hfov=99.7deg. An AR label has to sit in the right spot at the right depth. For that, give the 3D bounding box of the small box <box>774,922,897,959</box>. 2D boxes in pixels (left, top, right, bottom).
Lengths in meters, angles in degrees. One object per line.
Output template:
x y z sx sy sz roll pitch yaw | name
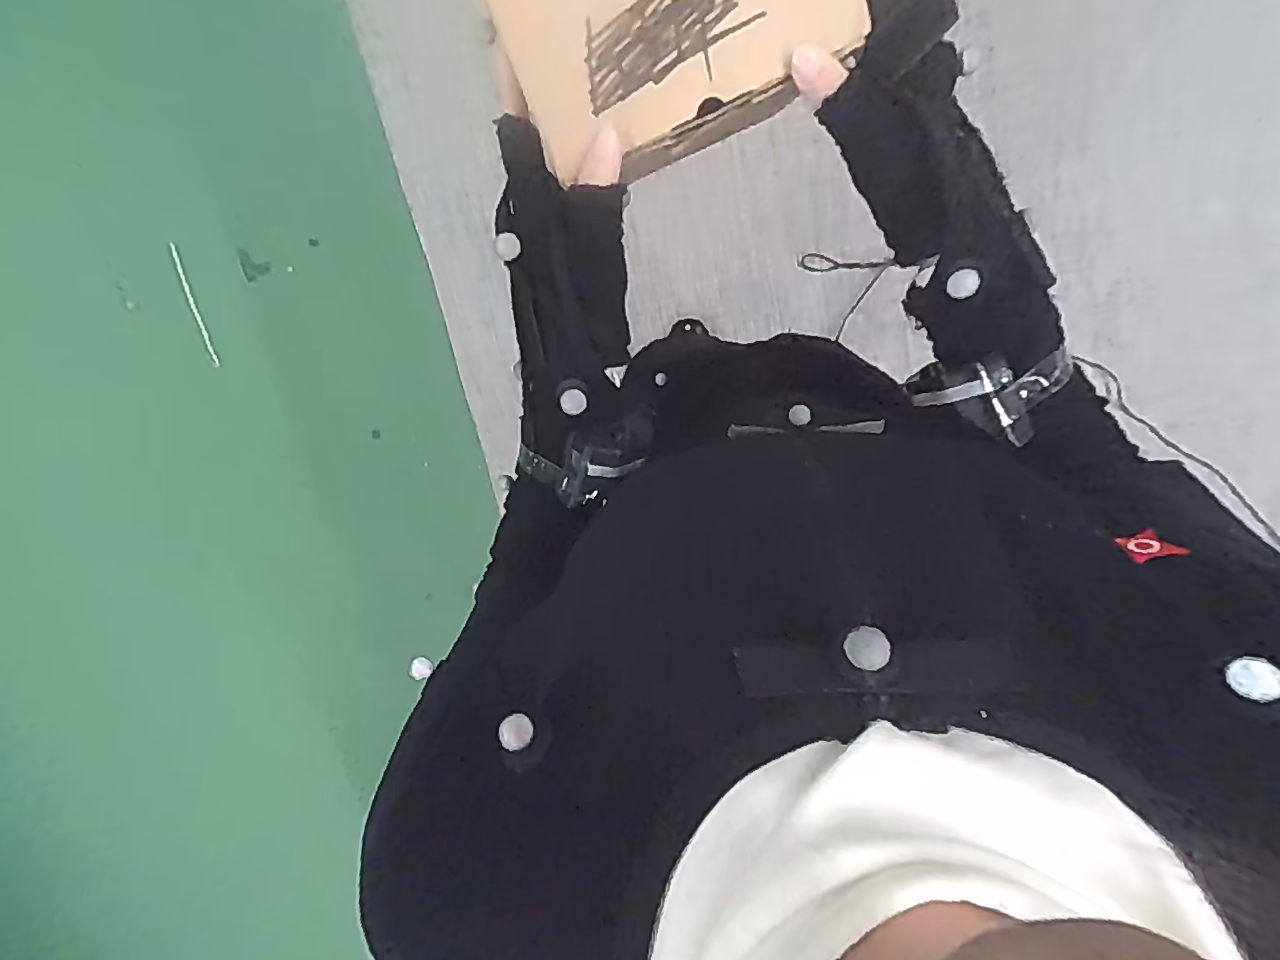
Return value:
0.303 0.790 0.792 0.179 0.176 0.168 -9 105 9 | small box

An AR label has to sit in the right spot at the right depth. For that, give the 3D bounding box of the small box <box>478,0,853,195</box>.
-0.004 -0.291 0.319 0.168 0.176 0.179 -24 113 8 | small box
